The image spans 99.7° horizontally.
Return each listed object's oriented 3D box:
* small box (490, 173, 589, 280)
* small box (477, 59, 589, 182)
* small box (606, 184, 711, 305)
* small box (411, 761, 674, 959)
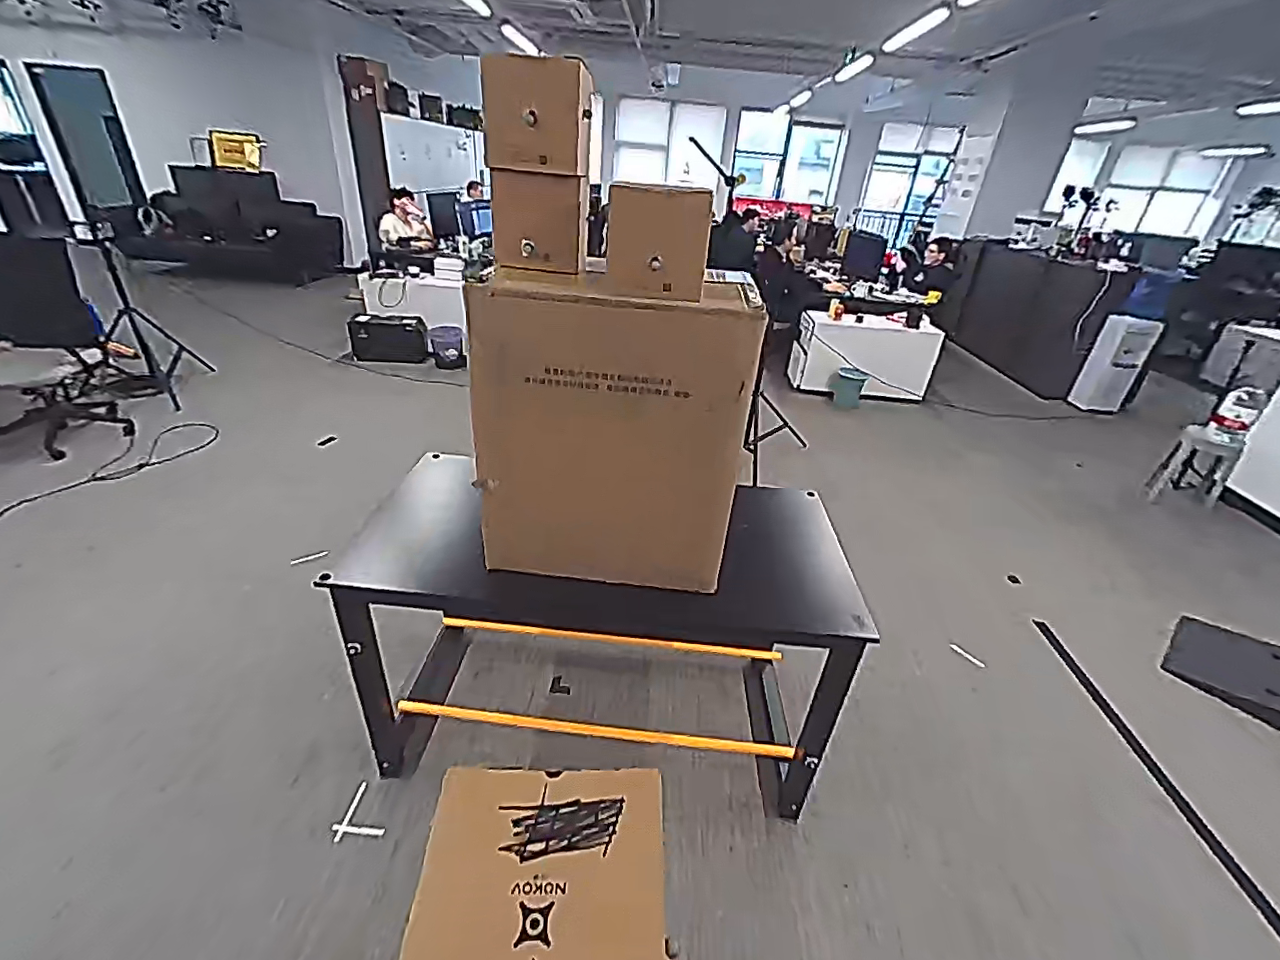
[{"bbox_3d":[-0.193,-0.506,1.074,0.168,0.176,0.179,3,30,-2],"label":"small box"},{"bbox_3d":[-0.183,-0.641,0.980,0.168,0.176,0.179,5,30,-1],"label":"small box"},{"bbox_3d":[0.030,-0.419,0.955,0.168,0.176,0.179,4,31,1],"label":"small box"},{"bbox_3d":[-0.062,0.340,0.411,0.168,0.176,0.179,0,39,-1],"label":"small box"}]
